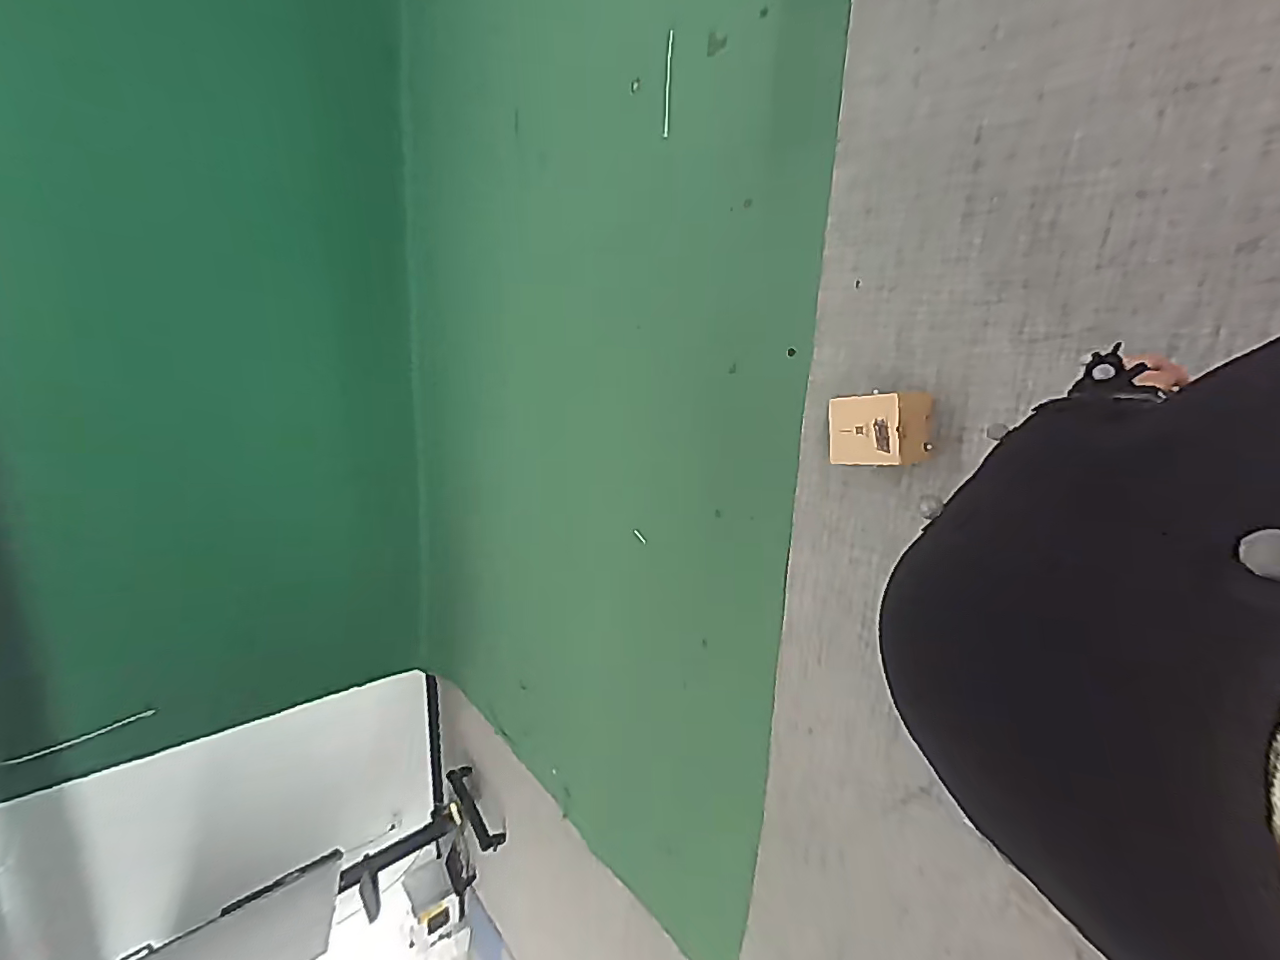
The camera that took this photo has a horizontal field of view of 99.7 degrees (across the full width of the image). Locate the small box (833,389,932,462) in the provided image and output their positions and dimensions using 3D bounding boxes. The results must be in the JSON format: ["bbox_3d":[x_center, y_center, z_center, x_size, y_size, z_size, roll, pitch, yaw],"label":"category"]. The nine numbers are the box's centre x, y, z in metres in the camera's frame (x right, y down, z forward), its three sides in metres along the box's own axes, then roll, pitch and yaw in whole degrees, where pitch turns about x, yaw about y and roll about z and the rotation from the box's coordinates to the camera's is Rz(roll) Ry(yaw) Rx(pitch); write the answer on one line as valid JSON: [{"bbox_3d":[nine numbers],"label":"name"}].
[{"bbox_3d":[0.599,-0.134,1.328,0.179,0.176,0.168,3,99,50],"label":"small box"}]
